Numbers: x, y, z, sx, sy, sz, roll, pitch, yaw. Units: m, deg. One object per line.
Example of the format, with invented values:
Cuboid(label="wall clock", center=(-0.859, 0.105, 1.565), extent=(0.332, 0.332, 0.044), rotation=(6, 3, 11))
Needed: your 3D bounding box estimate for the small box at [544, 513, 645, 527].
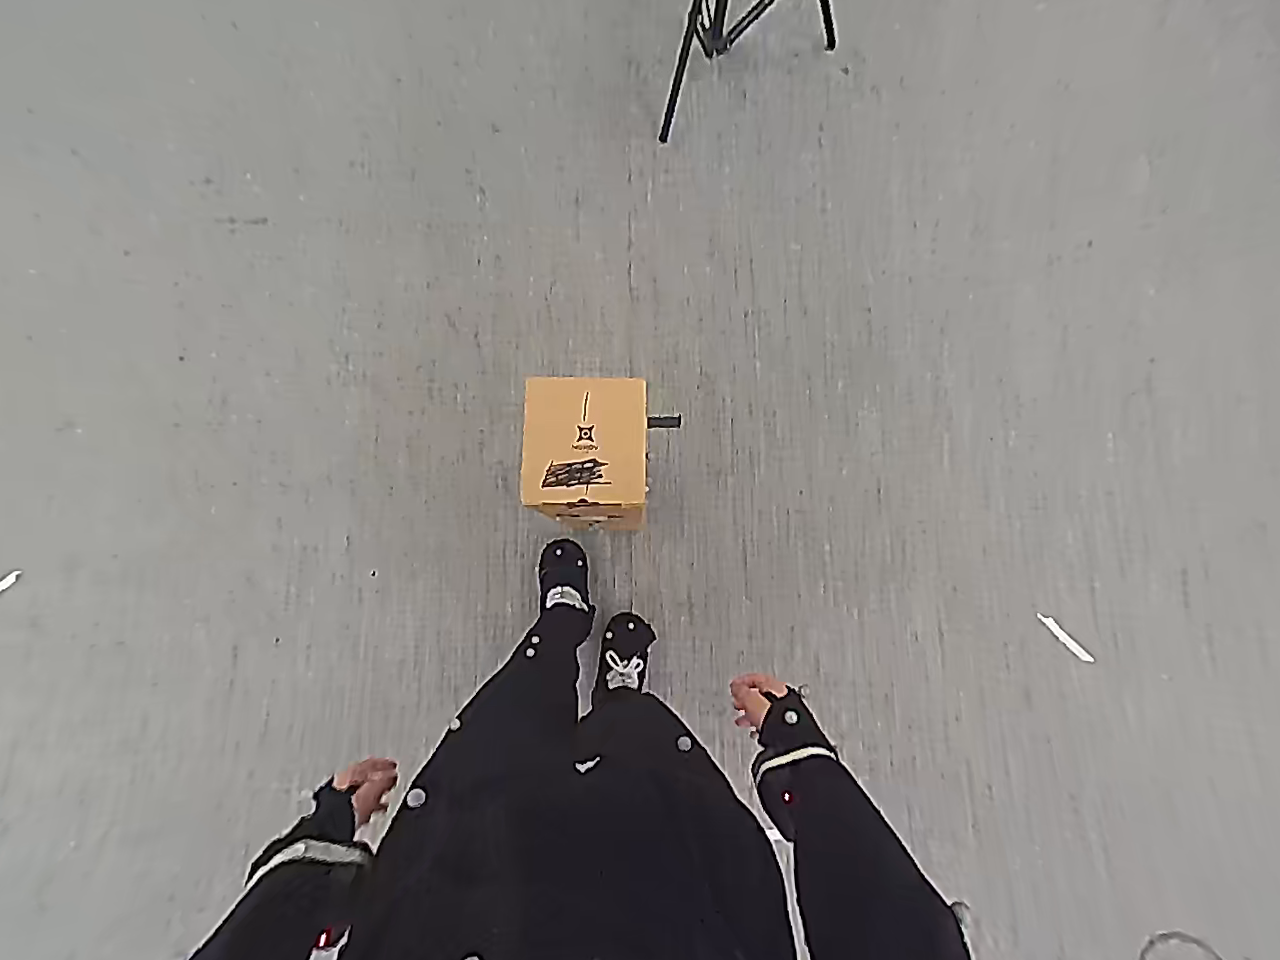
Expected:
Cuboid(label="small box", center=(-0.071, -0.007, 0.957), extent=(0.168, 0.176, 0.179), rotation=(2, 83, -1))

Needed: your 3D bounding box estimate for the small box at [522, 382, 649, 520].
Cuboid(label="small box", center=(-0.071, -0.033, 0.794), extent=(0.168, 0.176, 0.179), rotation=(1, 81, 0))
